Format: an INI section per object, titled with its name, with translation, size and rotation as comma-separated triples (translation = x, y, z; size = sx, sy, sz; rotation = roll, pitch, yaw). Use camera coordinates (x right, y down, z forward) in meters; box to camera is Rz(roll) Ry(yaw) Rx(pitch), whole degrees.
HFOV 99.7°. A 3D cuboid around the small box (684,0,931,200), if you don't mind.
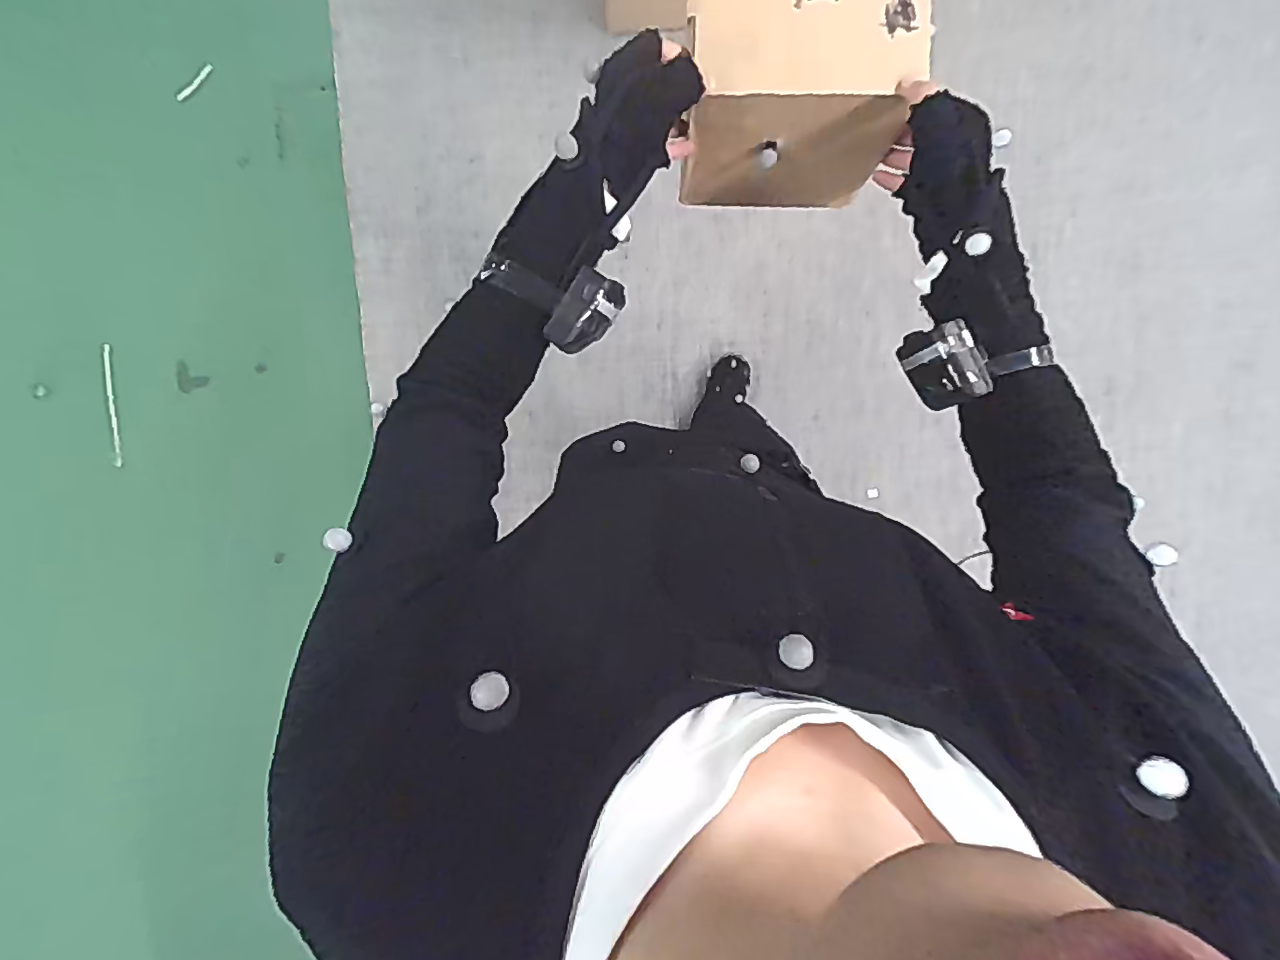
[small box]
translation = 0.131, -0.372, 0.481
size = 0.179, 0.176, 0.168
rotation = 2, 90, 1
